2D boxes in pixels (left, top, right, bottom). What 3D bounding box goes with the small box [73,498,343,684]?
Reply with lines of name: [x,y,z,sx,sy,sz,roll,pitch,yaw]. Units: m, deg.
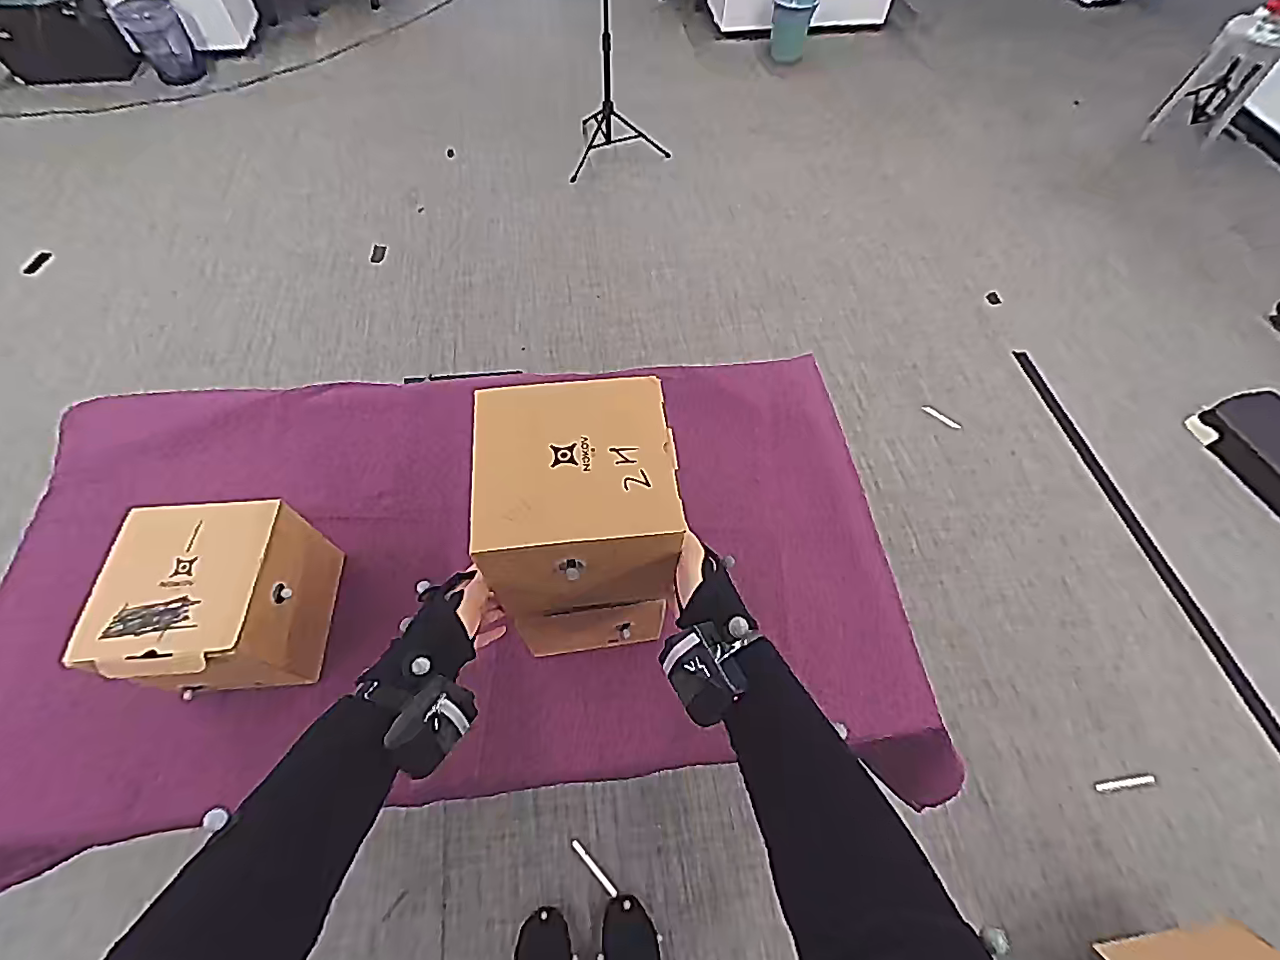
small box: [-0.485,0.140,0.646,0.168,0.176,0.179,-3,59,-4]

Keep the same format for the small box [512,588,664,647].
small box: [-0.065,0.103,0.680,0.168,0.176,0.179,-6,60,-5]

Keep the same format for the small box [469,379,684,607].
small box: [-0.059,0.020,0.539,0.179,0.176,0.168,-4,61,-5]
